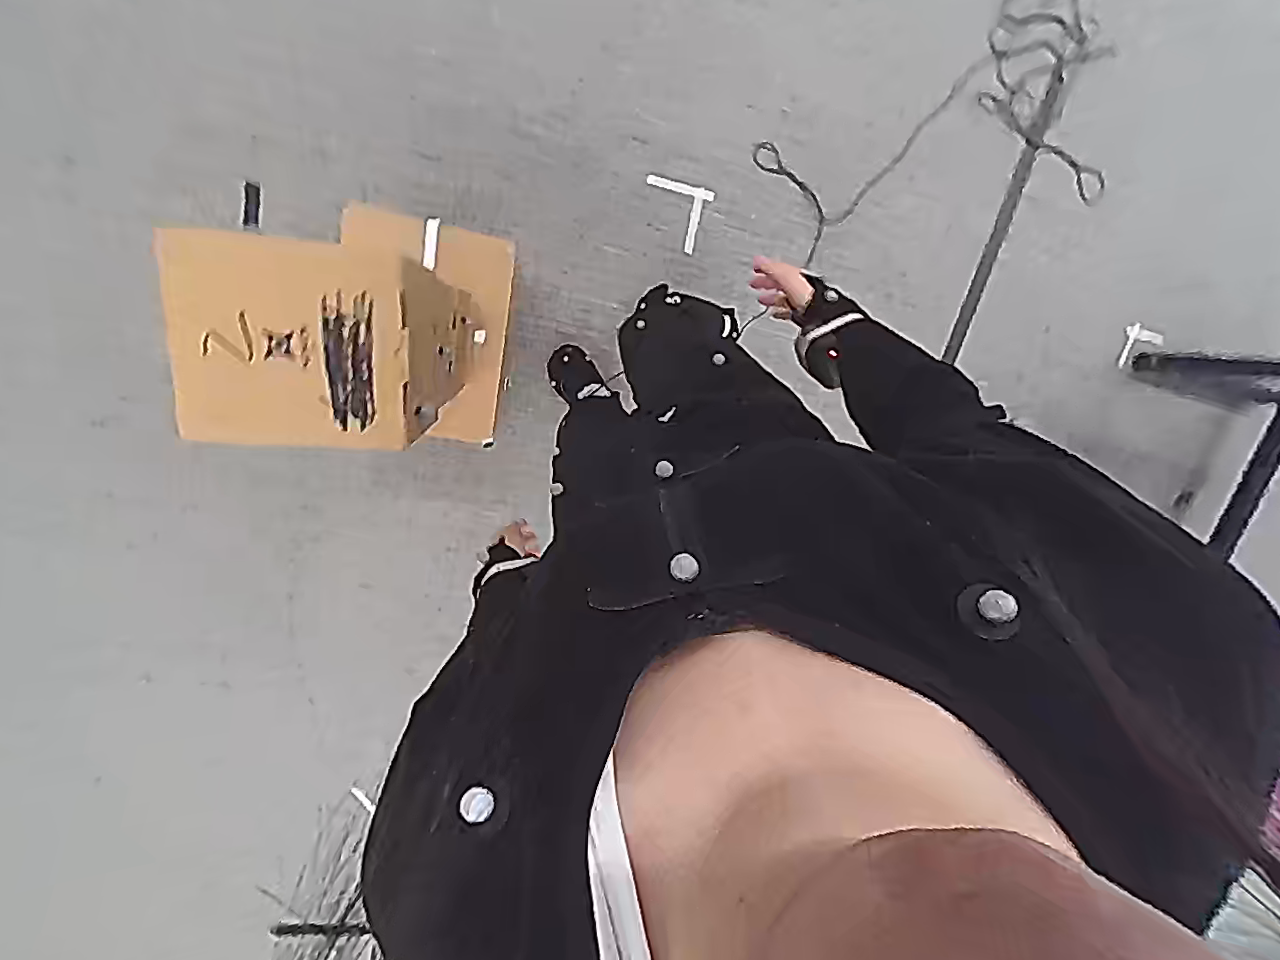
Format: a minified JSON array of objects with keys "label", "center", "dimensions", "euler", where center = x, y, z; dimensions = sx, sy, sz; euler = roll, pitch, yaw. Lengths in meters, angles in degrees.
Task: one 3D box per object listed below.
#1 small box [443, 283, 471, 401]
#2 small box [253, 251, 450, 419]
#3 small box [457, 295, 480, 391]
[{"label":"small box","center":[-0.359,-0.222,0.820],"dimensions":[0.179,0.176,0.168],"euler":[6,103,-11]},{"label":"small box","center":[-0.334,-0.174,0.664],"dimensions":[0.179,0.176,0.168],"euler":[2,104,-11]},{"label":"small box","center":[-0.394,-0.262,0.973],"dimensions":[0.179,0.176,0.168],"euler":[7,104,-13]}]
